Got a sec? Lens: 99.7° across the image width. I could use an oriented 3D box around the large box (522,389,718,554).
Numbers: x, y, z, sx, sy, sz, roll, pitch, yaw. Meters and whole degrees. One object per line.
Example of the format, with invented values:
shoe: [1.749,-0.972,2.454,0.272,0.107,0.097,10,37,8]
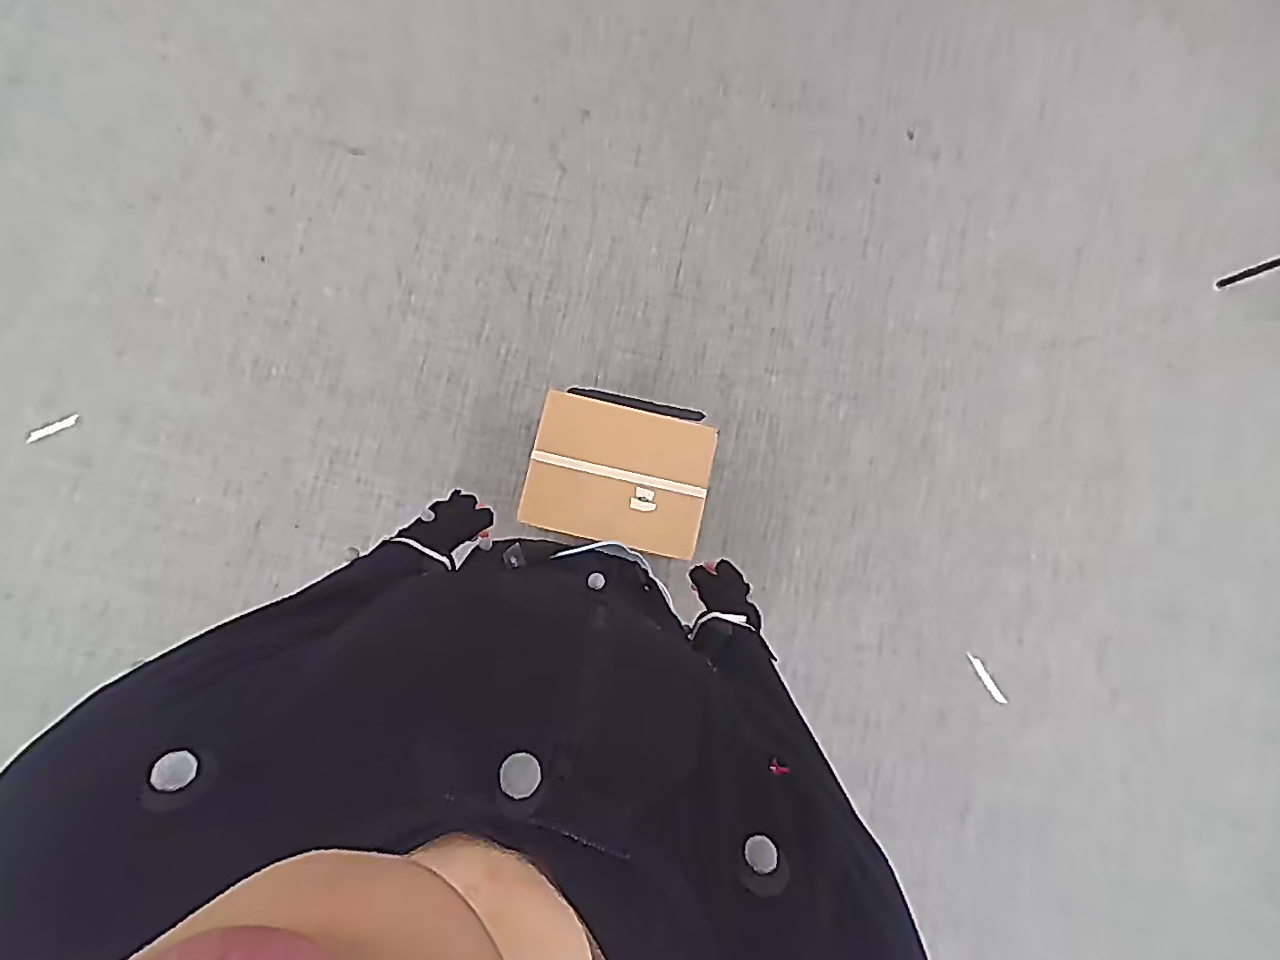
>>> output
large box: [-0.053,-0.002,1.378,0.408,0.320,0.320,13,83,-3]
